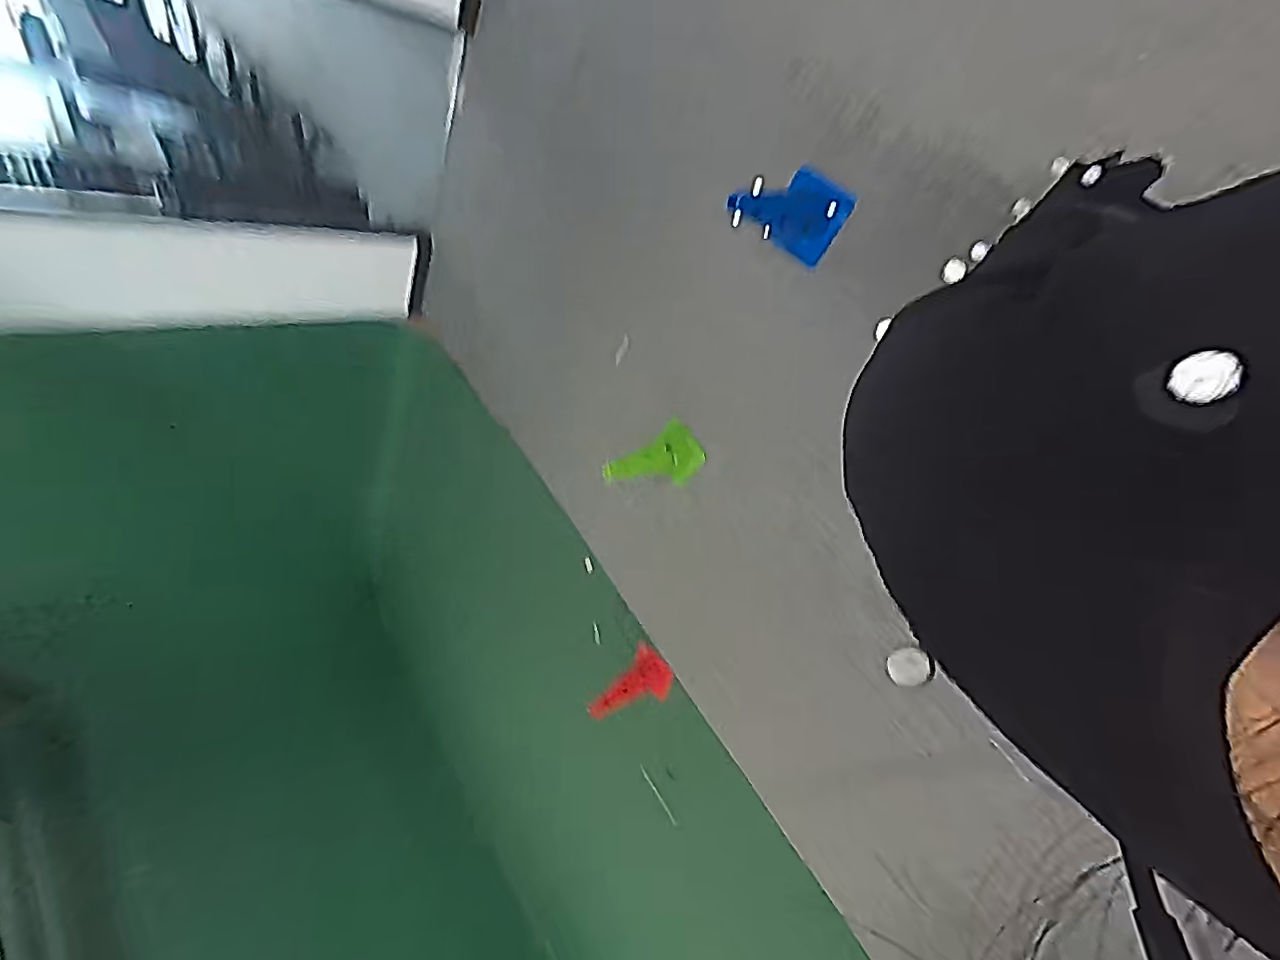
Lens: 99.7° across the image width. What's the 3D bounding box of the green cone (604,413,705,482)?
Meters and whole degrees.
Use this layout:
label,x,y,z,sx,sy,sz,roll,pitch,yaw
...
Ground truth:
label,x,y,z,sx,sy,sz,roll,pitch,yaw
green cone,0.020,-0.083,1.880,0.200,0.368,0.202,56,134,17
